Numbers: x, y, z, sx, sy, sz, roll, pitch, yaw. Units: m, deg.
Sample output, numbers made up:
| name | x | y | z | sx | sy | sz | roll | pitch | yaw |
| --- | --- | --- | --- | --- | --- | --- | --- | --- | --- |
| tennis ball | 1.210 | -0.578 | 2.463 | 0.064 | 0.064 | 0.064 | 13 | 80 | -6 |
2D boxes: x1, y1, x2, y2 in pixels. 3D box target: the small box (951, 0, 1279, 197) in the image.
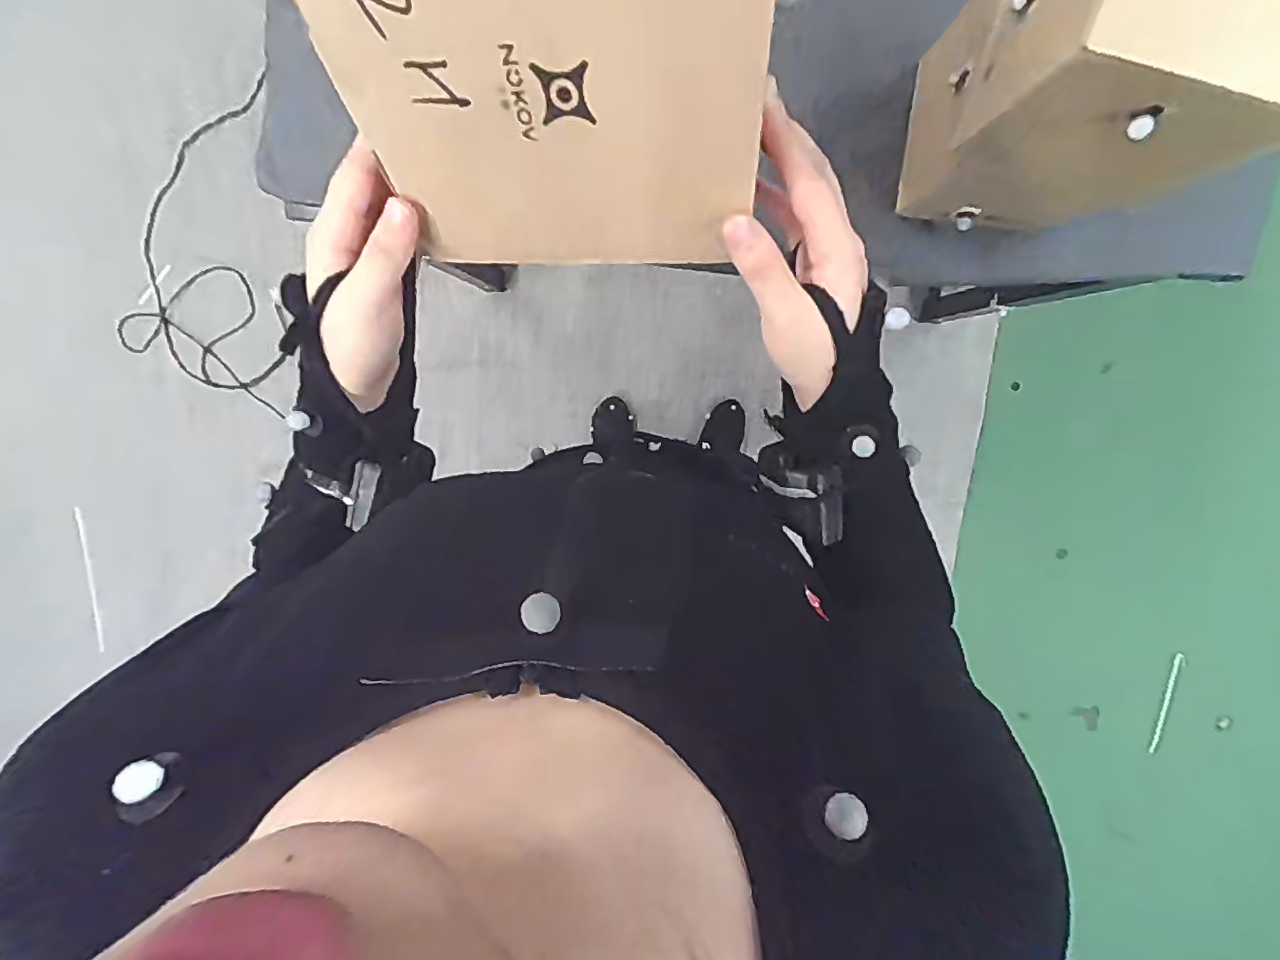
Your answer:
| name | x | y | z | sx | sy | sz | roll | pitch | yaw |
| --- | --- | --- | --- | --- | --- | --- | --- | --- | --- |
| small box | 0.386 | -0.341 | 0.412 | 0.179 | 0.176 | 0.168 | 16 | 100 | 1 |

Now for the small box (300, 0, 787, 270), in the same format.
| name | x | y | z | sx | sy | sz | roll | pitch | yaw |
| --- | --- | --- | --- | --- | --- | --- | --- | --- | --- |
| small box | -0.026 | -0.224 | 0.254 | 0.179 | 0.168 | 0.176 | 4 | 62 | 7 |

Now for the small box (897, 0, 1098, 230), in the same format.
| name | x | y | z | sx | sy | sz | roll | pitch | yaw |
| --- | --- | --- | --- | --- | --- | --- | --- | --- | --- |
| small box | 0.395 | -0.384 | 0.569 | 0.168 | 0.176 | 0.179 | 6 | 101 | 2 |
